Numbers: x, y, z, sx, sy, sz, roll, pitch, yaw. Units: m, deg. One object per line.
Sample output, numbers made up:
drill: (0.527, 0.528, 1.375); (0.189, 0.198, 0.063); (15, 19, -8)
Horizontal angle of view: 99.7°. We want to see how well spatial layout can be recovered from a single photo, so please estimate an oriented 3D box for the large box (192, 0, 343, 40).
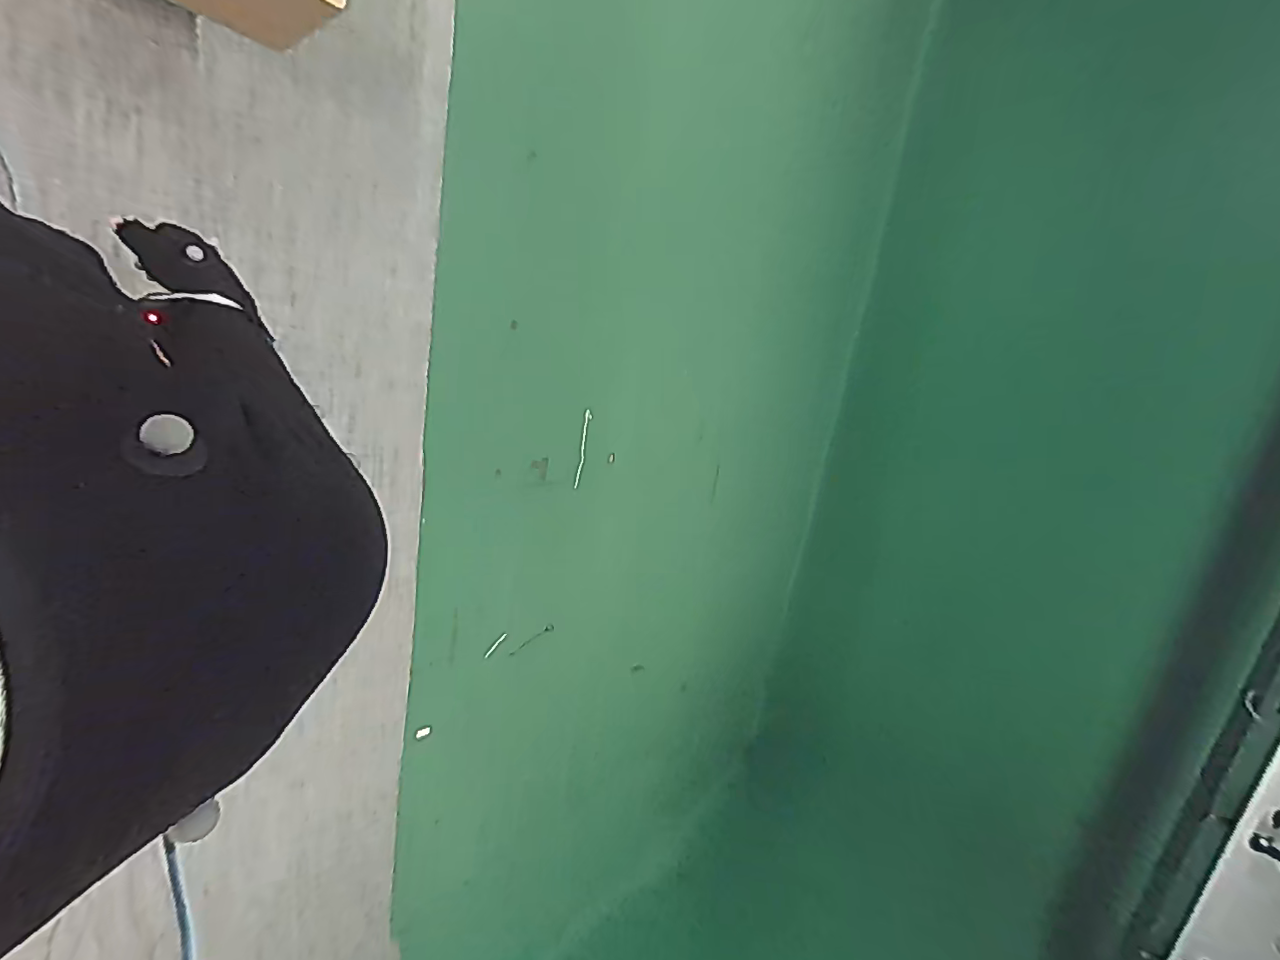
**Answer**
large box: (-0.672, -0.912, 0.747); (0.408, 0.320, 0.320); (-4, 110, -49)
